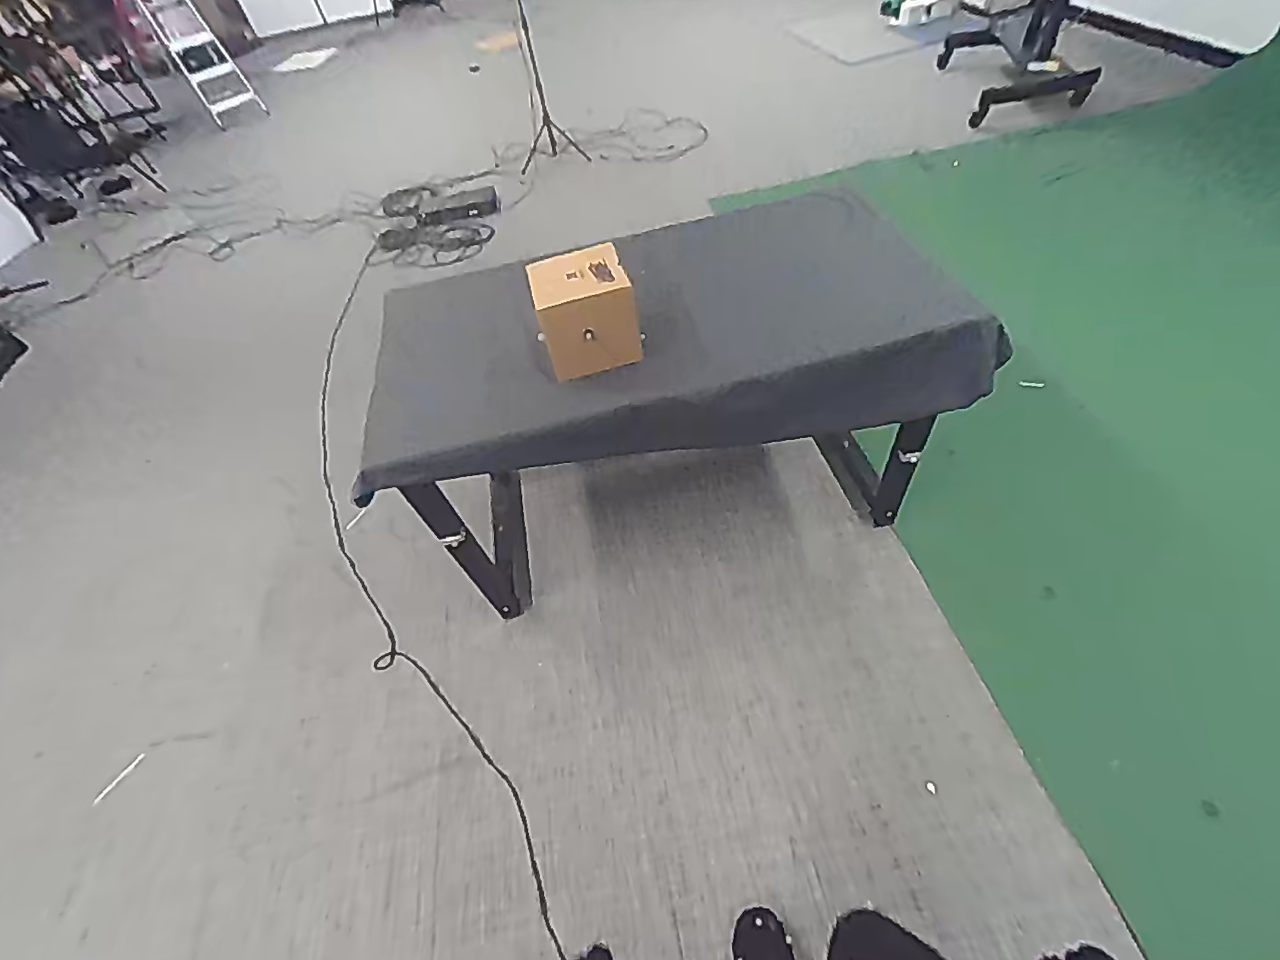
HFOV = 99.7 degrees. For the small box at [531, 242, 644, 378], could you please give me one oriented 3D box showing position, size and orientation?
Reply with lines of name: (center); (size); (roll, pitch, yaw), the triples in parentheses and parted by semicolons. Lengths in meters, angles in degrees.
small box: (-0.096, -0.327, 1.053); (0.179, 0.176, 0.168); (-17, 52, -5)
